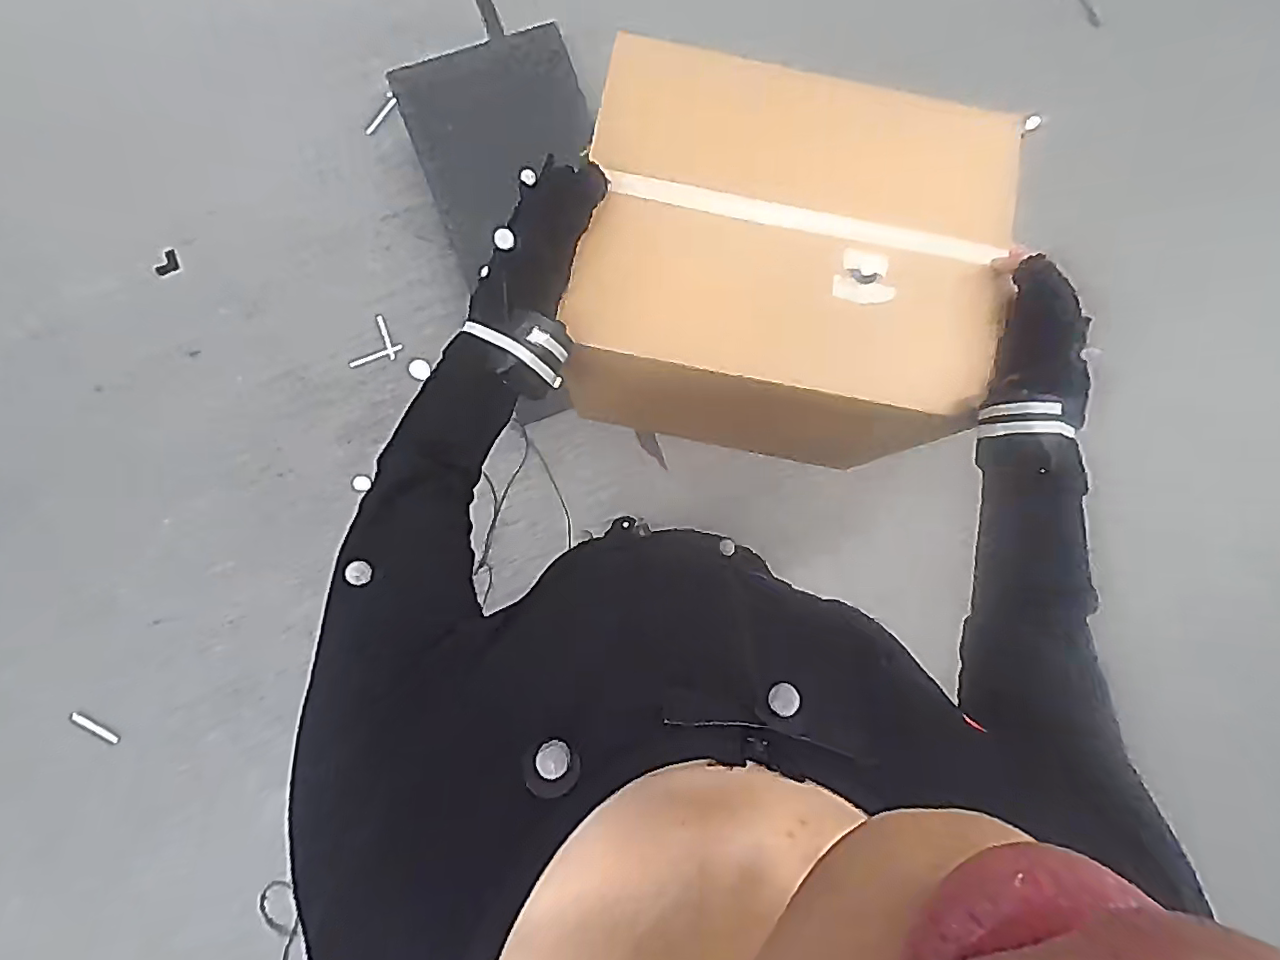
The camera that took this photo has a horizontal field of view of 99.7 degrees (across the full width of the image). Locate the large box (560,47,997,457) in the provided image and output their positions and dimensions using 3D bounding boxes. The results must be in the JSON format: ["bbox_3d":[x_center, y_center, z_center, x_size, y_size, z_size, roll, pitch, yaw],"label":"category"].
[{"bbox_3d":[0.134,-0.232,0.667,0.408,0.320,0.320,10,83,-2],"label":"large box"}]

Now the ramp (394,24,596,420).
[{"bbox_3d":[-0.271,-0.717,1.521,0.509,0.206,0.991,-22,84,-5],"label":"ramp"}]
